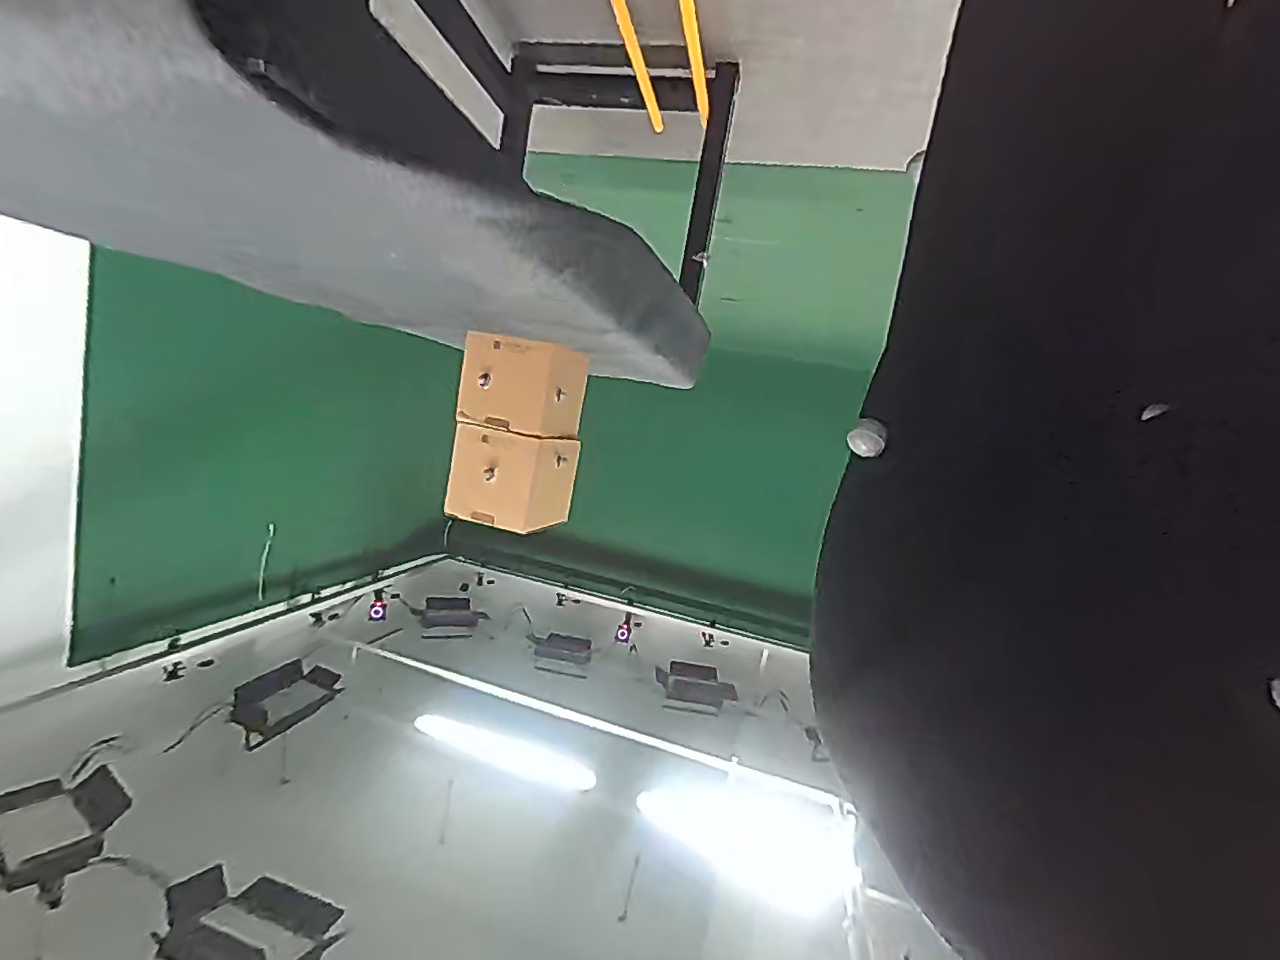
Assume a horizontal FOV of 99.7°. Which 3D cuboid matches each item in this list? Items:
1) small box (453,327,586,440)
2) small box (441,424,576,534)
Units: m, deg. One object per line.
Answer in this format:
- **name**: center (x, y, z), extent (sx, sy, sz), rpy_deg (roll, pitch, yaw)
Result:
- **small box**: center (-0.210, -0.172, 0.979), extent (0.168, 0.176, 0.179), rpy_deg (13, -173, 13)
- **small box**: center (-0.235, -0.009, 0.994), extent (0.168, 0.176, 0.179), rpy_deg (13, -174, 16)
